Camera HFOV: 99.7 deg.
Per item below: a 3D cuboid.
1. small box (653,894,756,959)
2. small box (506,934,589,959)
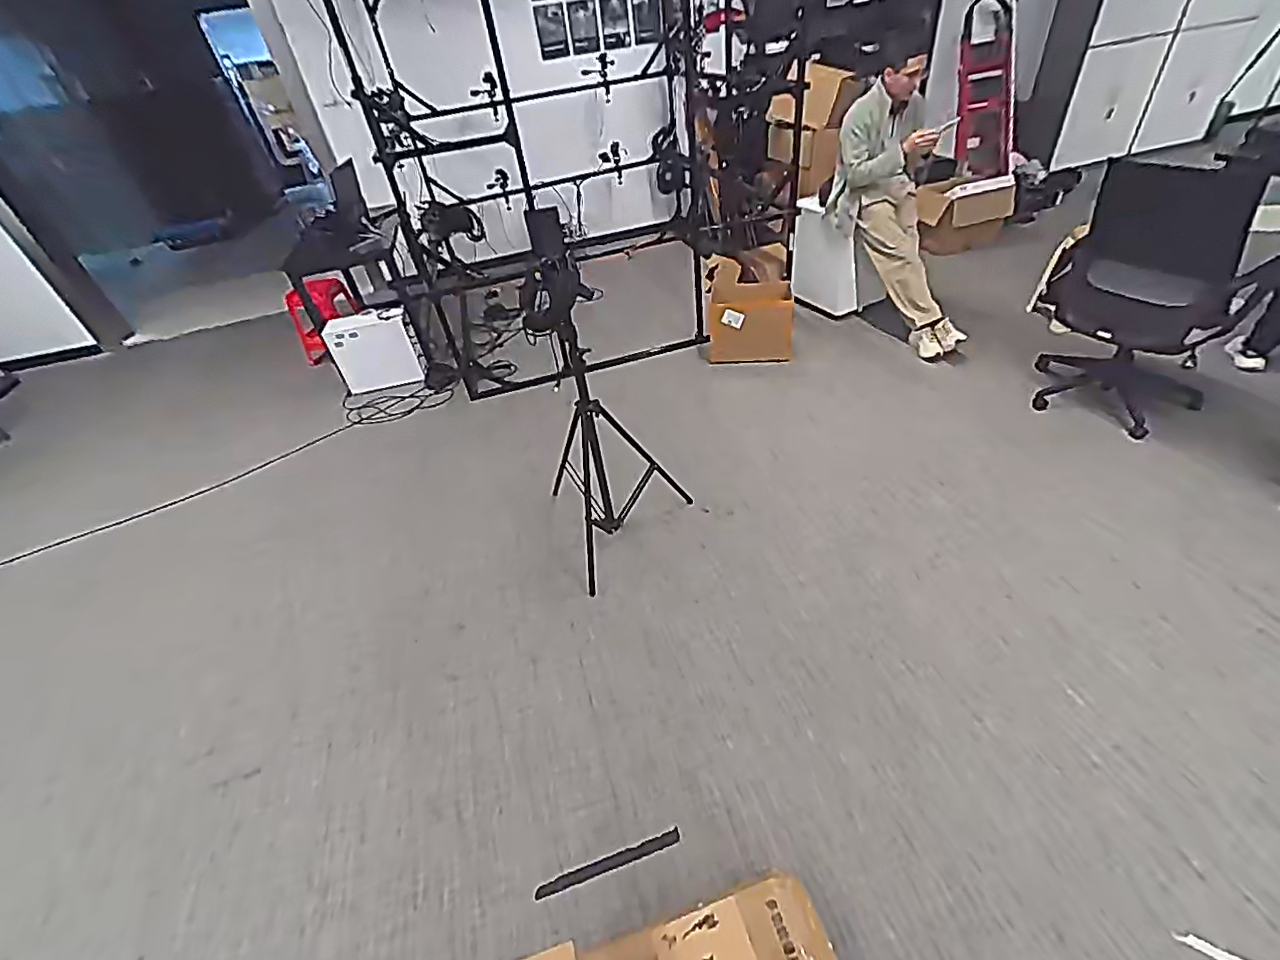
[{"bbox_3d":[0.136,0.912,0.996,0.168,0.176,0.179,-17,40,-7],"label":"small box"},{"bbox_3d":[-0.151,0.864,0.845,0.168,0.176,0.179,-15,40,-8],"label":"small box"}]
